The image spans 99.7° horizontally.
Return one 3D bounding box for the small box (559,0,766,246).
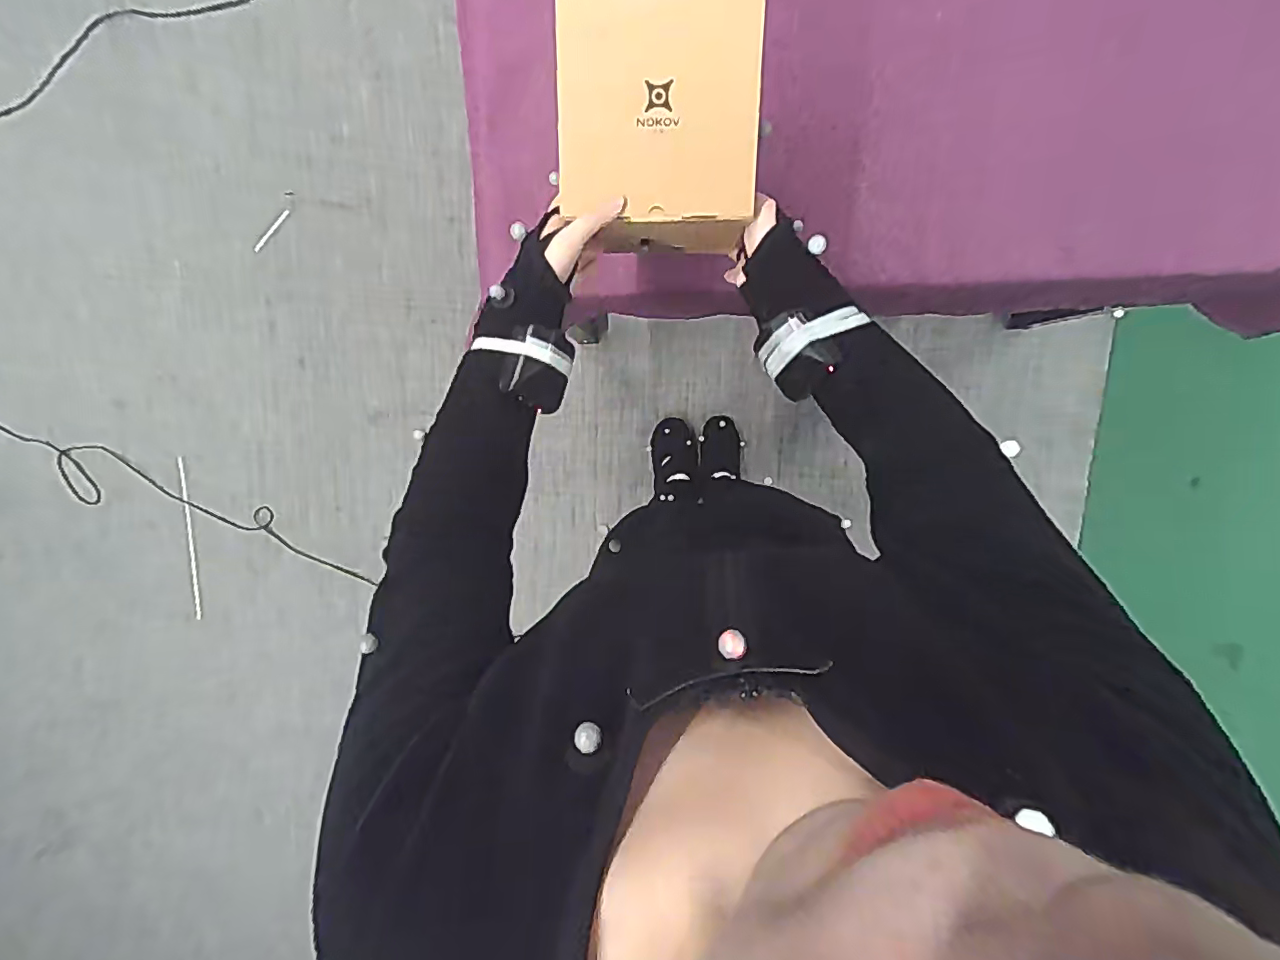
[{"bbox_3d":[0.019,-0.331,0.516,0.168,0.176,0.179,0,106,3],"label":"small box"}]
